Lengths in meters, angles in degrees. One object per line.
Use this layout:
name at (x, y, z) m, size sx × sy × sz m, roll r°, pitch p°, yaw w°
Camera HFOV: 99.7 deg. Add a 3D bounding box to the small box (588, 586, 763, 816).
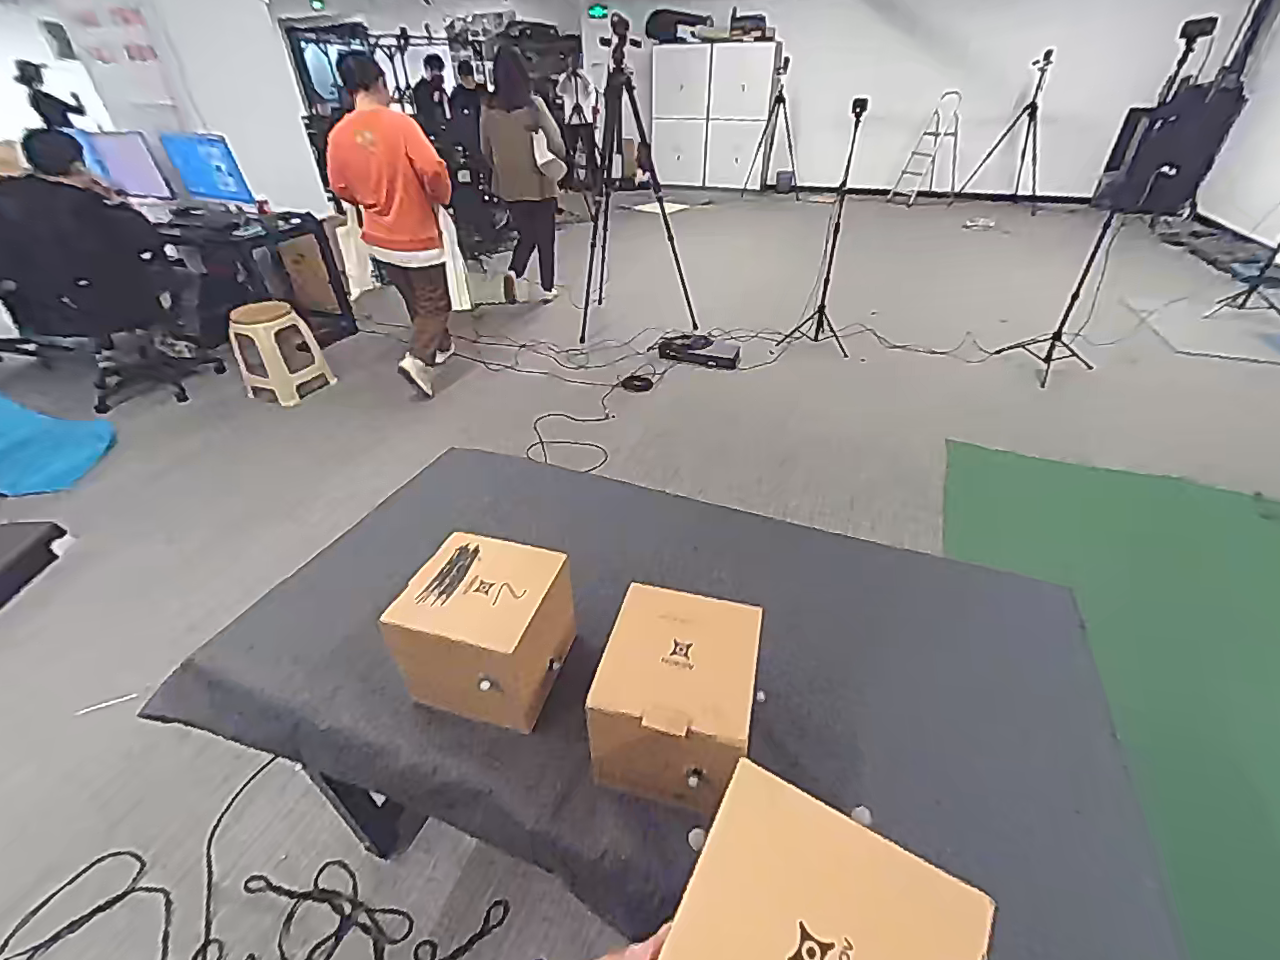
small box at (0.047, 0.259, 0.640) m, size 0.168 × 0.176 × 0.179 m, roll 9°, pitch 36°, yaw 11°
